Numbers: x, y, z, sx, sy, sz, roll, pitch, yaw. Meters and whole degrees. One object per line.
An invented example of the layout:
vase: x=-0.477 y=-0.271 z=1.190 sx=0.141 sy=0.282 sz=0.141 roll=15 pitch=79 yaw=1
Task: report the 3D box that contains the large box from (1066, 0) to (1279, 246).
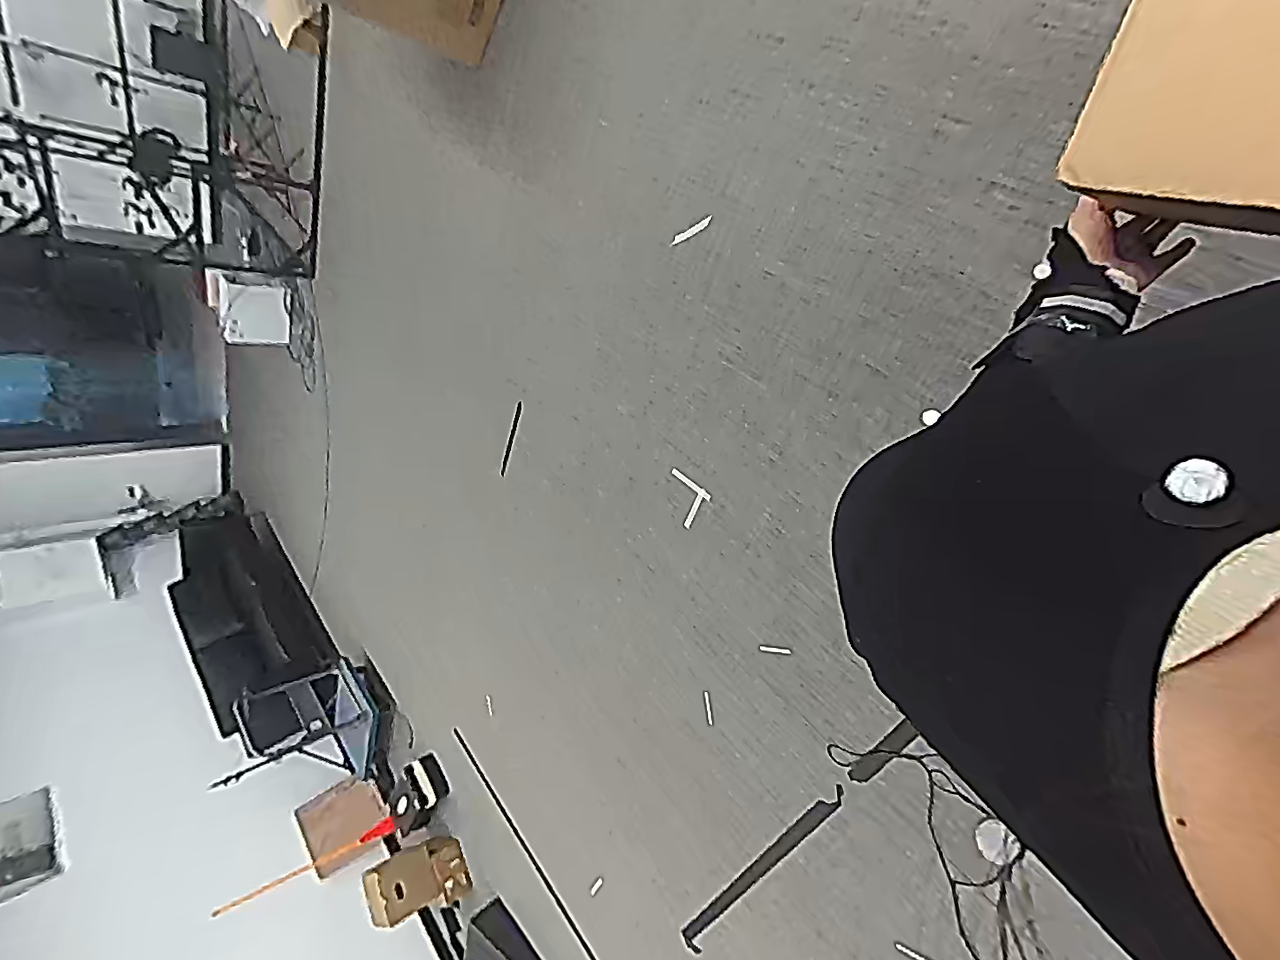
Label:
large box: x=0.504 y=-0.254 z=0.226 sx=0.408 sy=0.320 sz=0.320 roll=31 pitch=127 yaw=36
